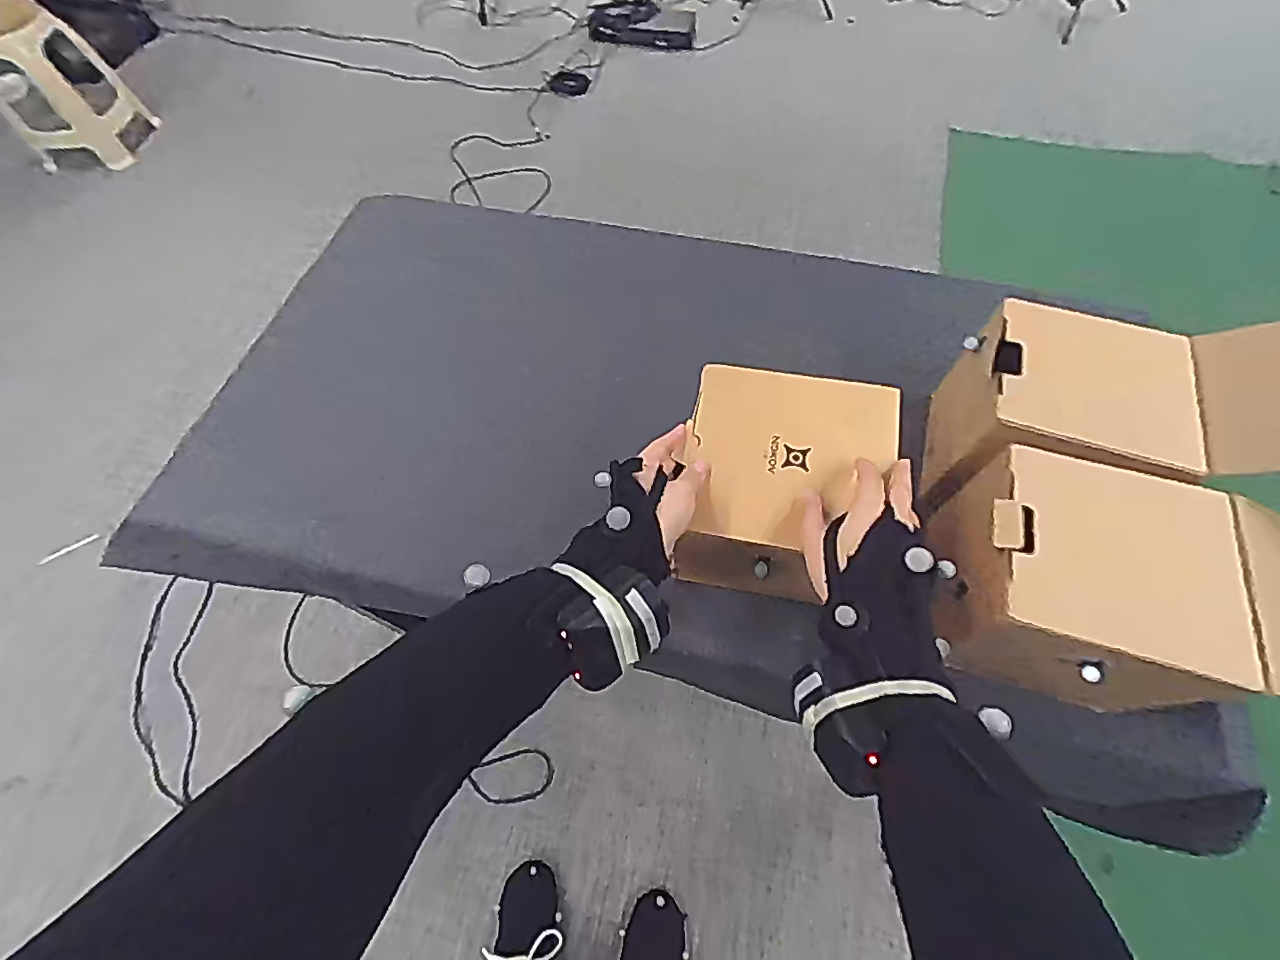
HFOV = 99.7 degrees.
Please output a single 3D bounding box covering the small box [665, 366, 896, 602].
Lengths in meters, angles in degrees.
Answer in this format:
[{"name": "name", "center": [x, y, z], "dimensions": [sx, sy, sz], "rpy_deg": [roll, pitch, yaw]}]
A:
[{"name": "small box", "center": [0.127, 0.014, 0.526], "dimensions": [0.179, 0.176, 0.168], "rpy_deg": [9, 68, 9]}]
